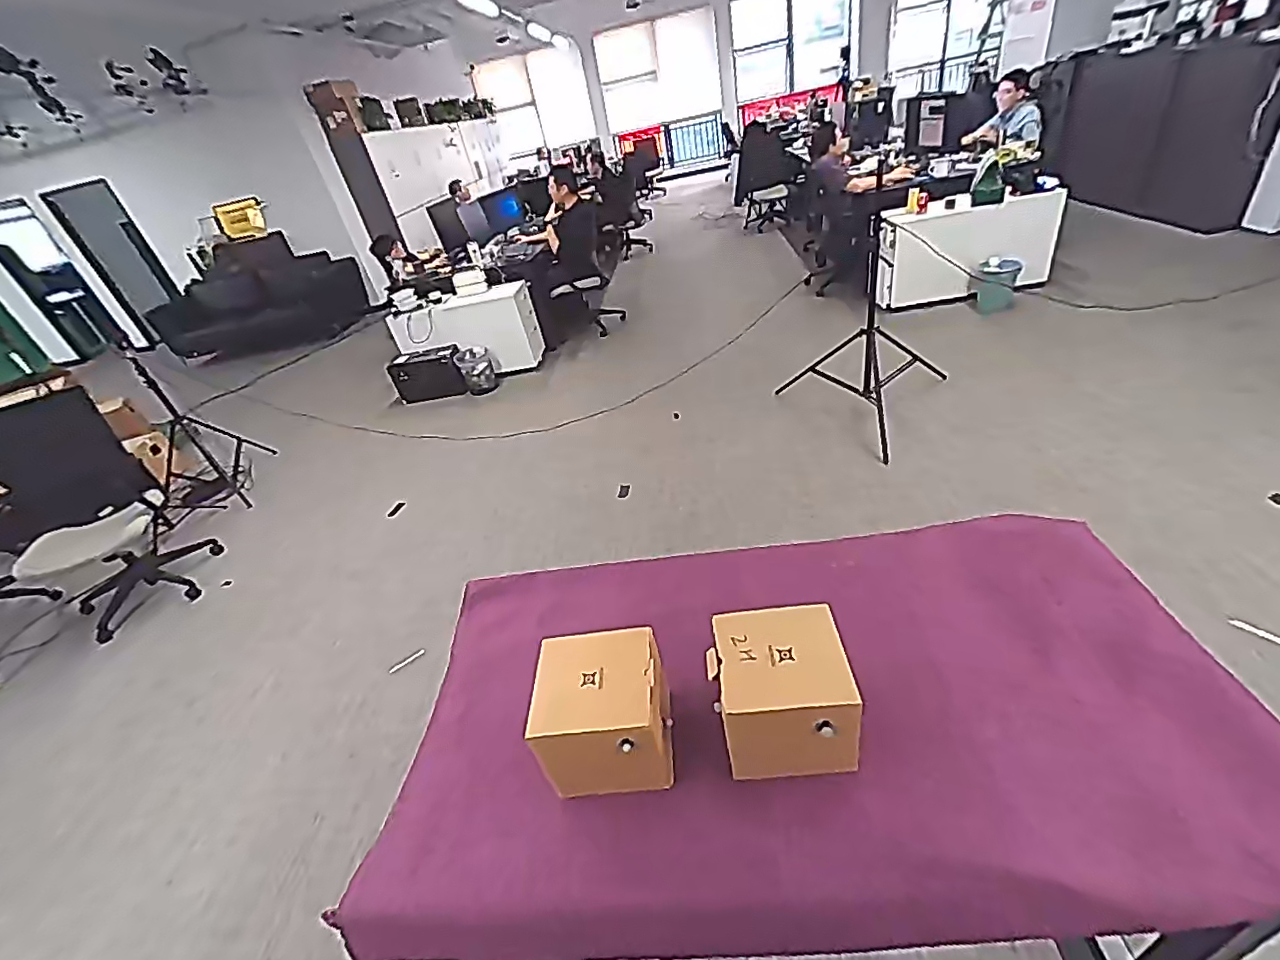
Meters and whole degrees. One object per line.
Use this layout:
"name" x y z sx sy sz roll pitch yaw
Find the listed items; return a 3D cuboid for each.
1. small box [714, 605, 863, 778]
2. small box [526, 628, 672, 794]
"small box" 0.209 0.309 0.789 0.179 0.176 0.168 -9 33 7
"small box" -0.052 0.352 0.820 0.179 0.176 0.168 -9 34 6
